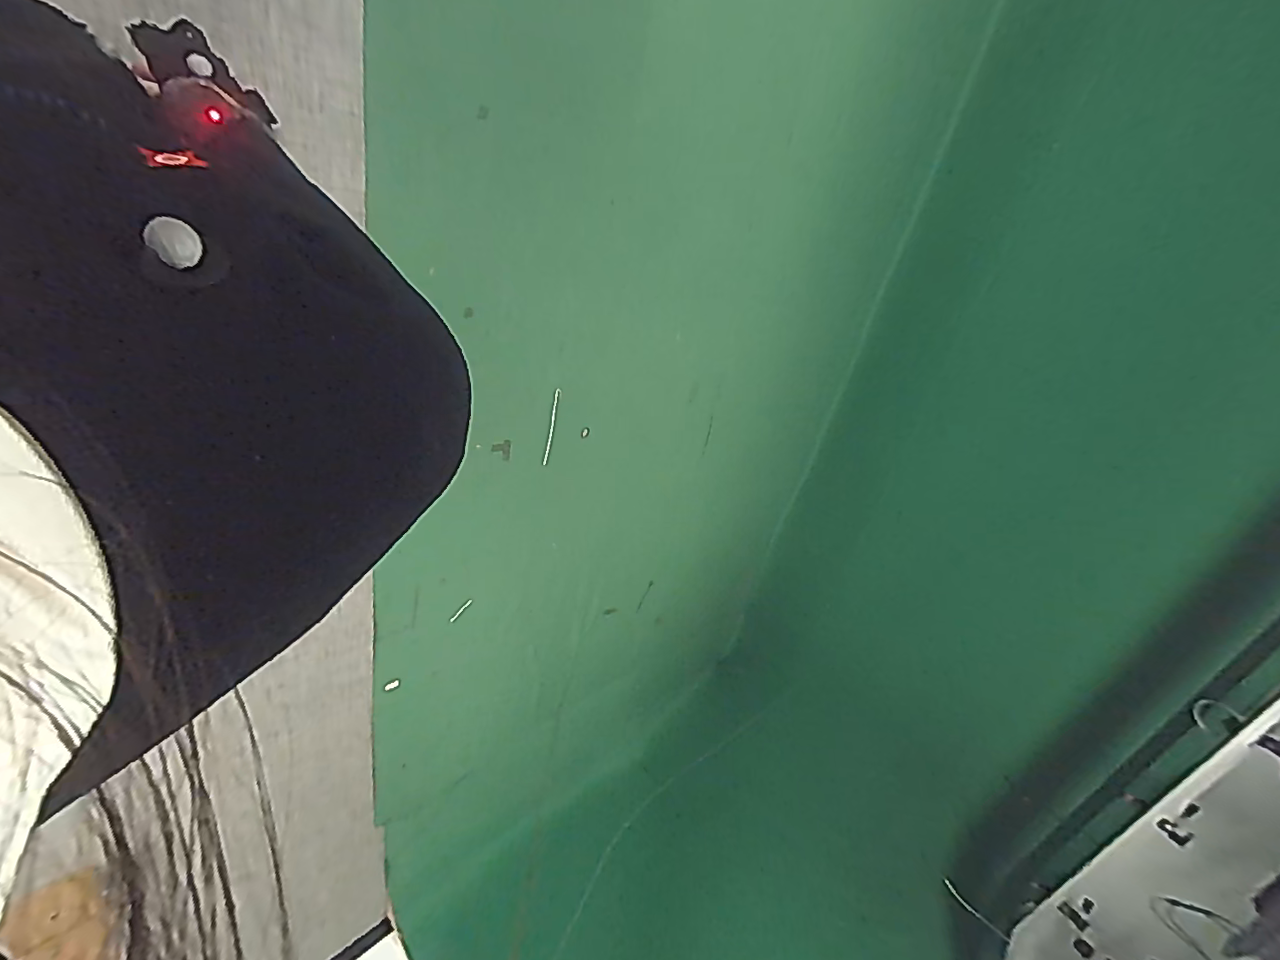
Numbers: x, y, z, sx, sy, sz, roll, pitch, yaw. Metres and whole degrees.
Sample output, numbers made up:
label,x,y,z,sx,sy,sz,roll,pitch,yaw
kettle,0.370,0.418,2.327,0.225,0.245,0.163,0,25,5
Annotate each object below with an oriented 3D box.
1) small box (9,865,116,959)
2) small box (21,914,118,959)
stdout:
label,x,y,z,sx,sy,sz,roll,pitch,yaw
small box,-1.622,1.247,1.519,0.179,0.176,0.168,-18,132,-45
small box,-1.508,1.315,1.425,0.179,0.176,0.168,-15,129,-44
